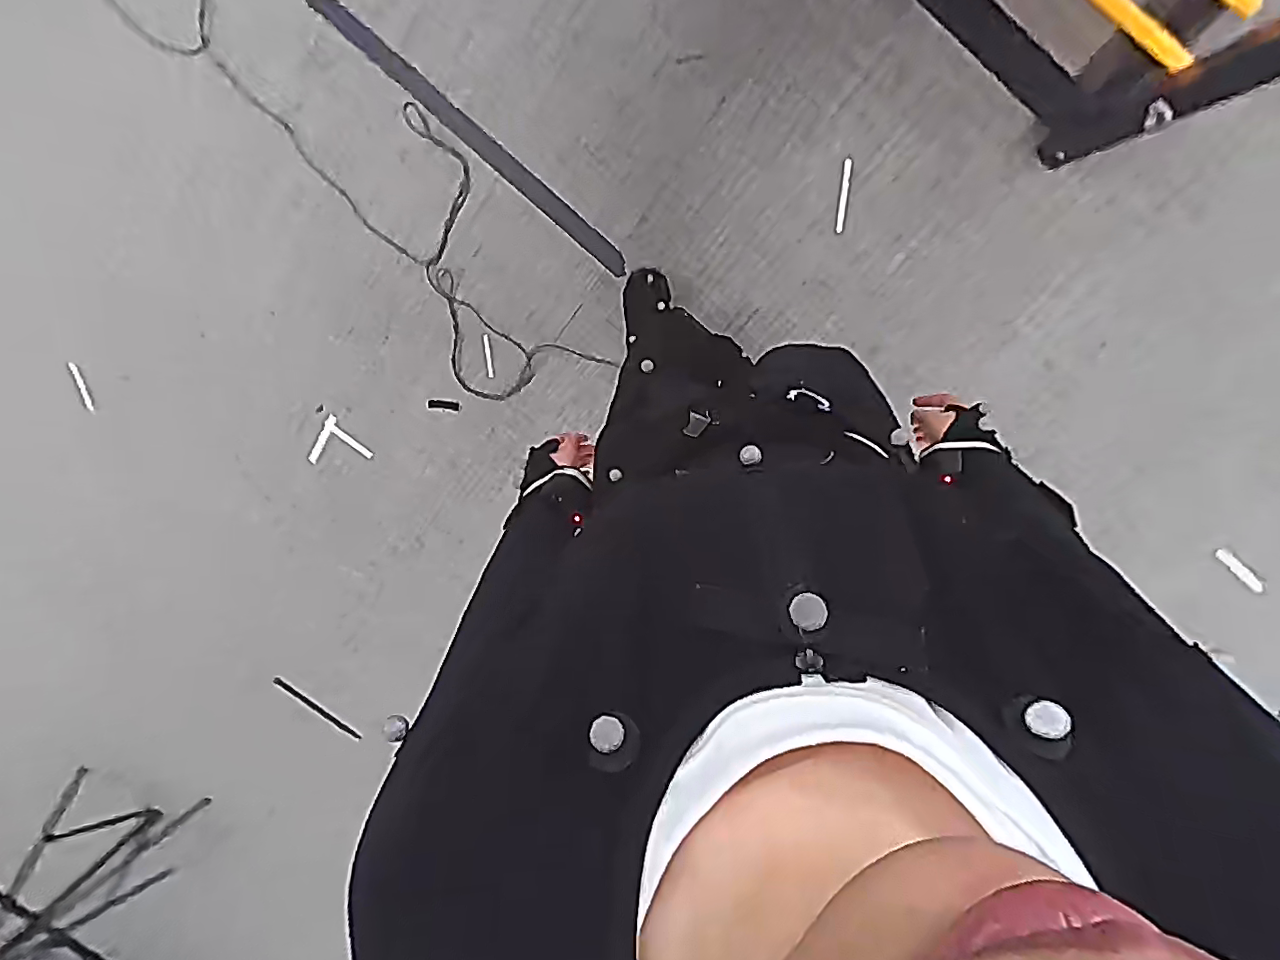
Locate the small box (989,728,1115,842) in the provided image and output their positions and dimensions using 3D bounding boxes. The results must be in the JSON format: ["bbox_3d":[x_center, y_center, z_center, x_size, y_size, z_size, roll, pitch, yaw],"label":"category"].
[{"bbox_3d":[1.091,0.810,1.447,0.179,0.176,0.168,40,112,-5],"label":"small box"}]
